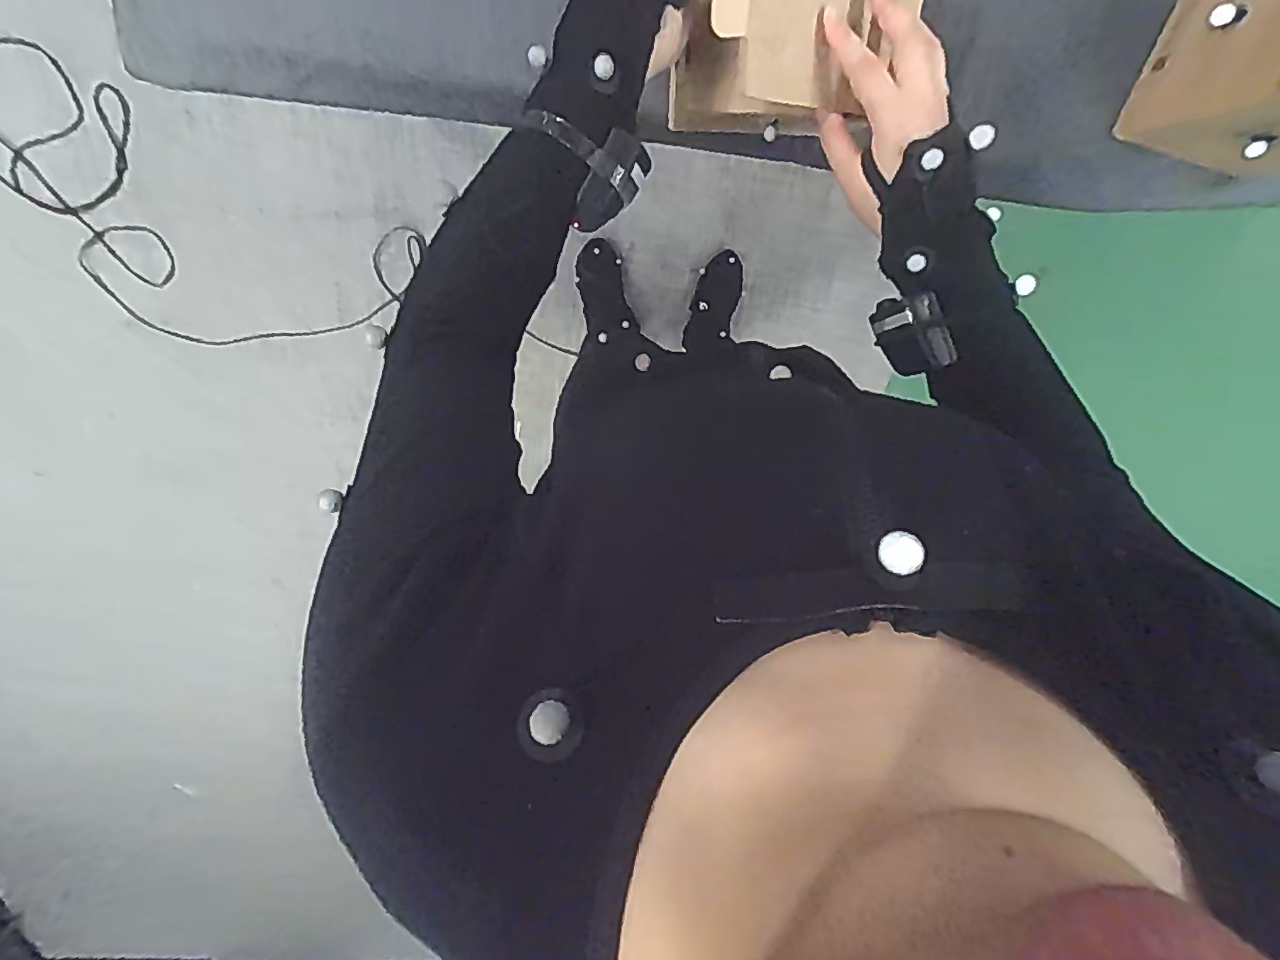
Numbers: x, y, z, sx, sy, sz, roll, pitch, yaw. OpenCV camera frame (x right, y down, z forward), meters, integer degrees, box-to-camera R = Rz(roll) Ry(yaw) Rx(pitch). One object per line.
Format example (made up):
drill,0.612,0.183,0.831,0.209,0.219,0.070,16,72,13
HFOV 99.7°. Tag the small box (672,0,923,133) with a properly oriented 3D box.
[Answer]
small box,0.122,-0.400,0.462,0.179,0.176,0.168,1,120,-2

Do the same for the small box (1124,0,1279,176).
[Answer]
small box,0.608,-0.386,0.483,0.179,0.176,0.168,11,114,-7
